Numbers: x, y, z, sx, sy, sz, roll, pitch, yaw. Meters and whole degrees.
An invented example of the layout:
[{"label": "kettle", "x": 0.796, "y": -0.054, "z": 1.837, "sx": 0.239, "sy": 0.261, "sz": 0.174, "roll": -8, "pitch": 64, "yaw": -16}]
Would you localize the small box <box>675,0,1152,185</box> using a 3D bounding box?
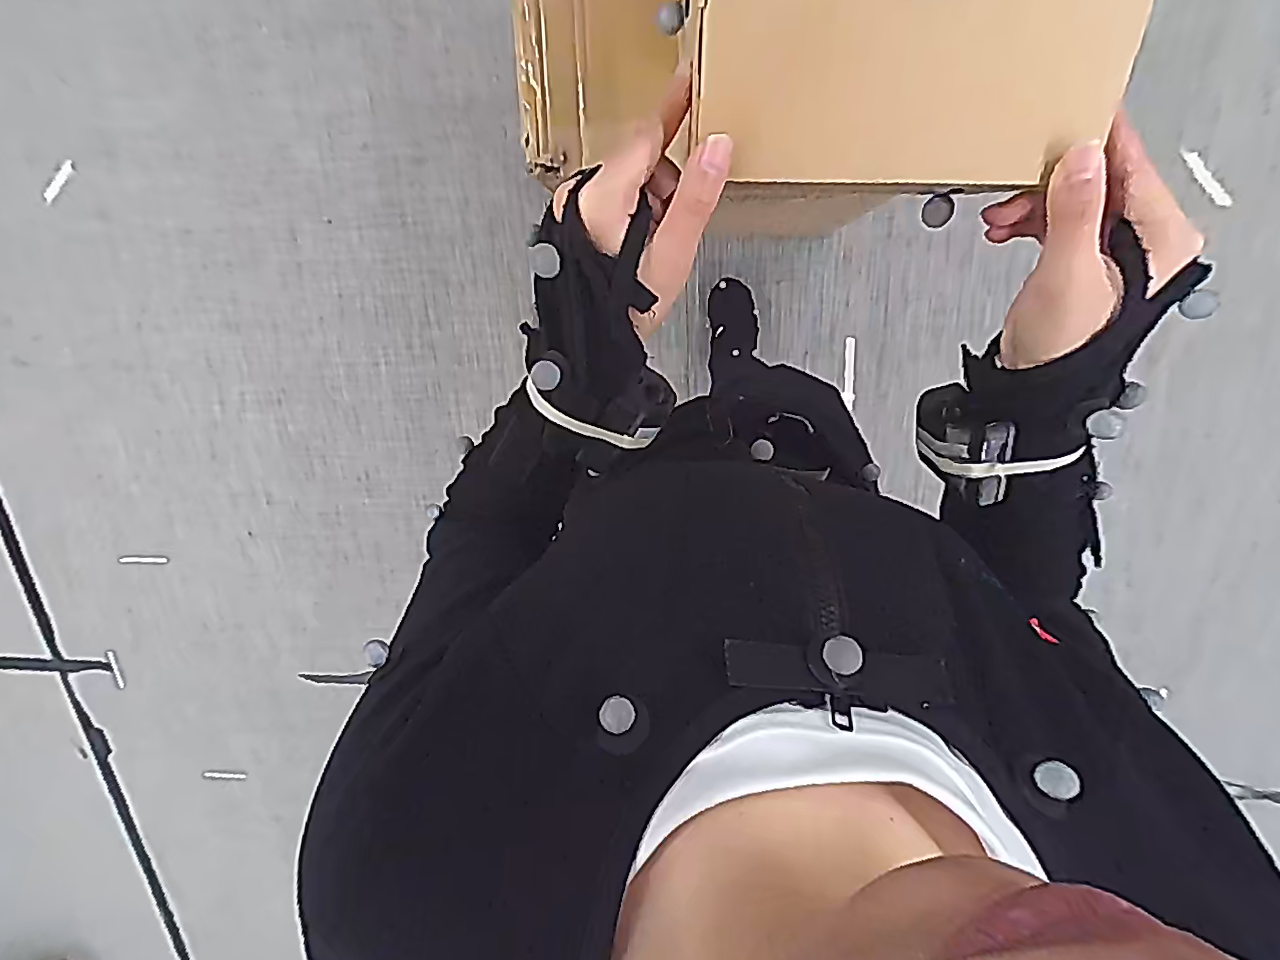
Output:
[{"label": "small box", "x": 0.112, "y": -0.244, "z": 0.267, "sx": 0.179, "sy": 0.176, "sz": 0.168, "roll": 2, "pitch": 117, "yaw": 1}]
